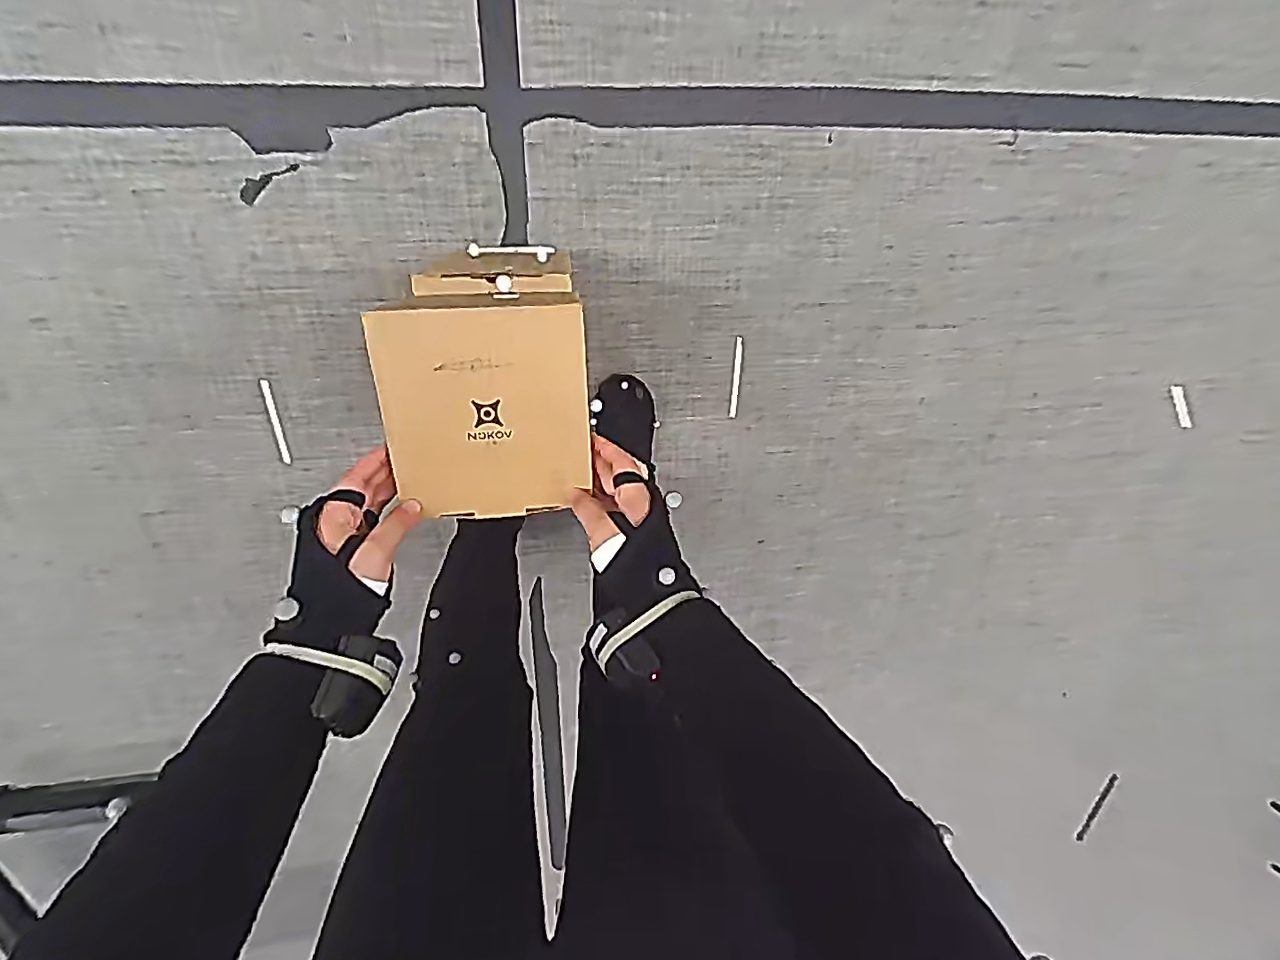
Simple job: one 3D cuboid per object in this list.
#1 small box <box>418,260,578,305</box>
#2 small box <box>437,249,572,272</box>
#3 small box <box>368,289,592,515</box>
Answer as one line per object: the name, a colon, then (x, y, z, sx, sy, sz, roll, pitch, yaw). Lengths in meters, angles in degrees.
small box: (-0.163, -0.174, 0.672, 0.168, 0.176, 0.179, -3, 118, -8)
small box: (-0.190, -0.252, 0.814, 0.179, 0.176, 0.168, -3, 117, -8)
small box: (-0.134, -0.084, 0.518, 0.168, 0.176, 0.179, -4, 113, -8)
